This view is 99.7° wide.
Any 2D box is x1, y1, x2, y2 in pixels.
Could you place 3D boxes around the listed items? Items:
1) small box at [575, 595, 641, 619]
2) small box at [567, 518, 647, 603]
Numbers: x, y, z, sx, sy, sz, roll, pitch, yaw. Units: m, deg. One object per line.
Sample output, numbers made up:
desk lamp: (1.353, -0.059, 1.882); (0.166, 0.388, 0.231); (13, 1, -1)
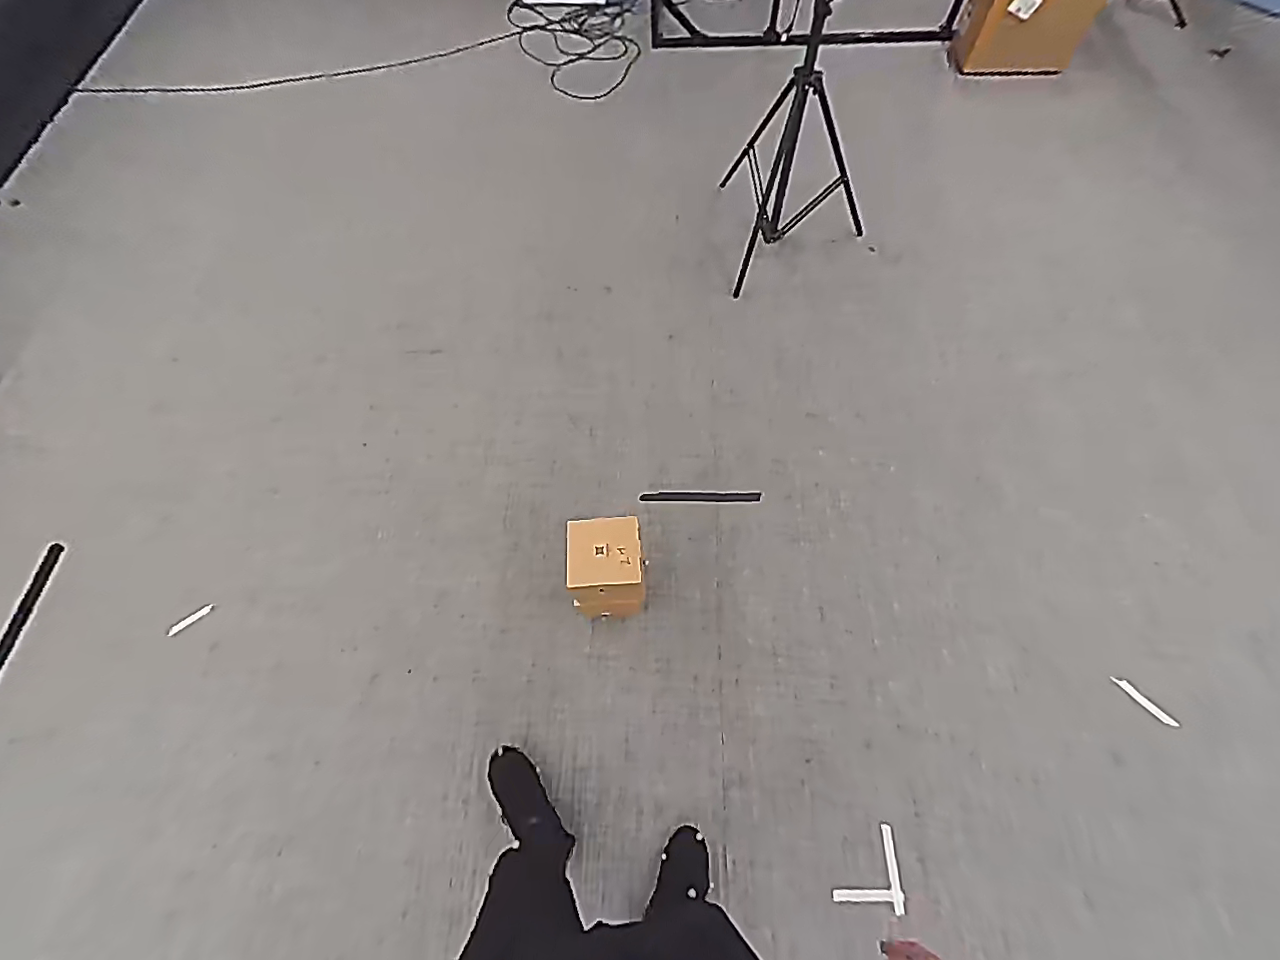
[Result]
small box: (-0.082, 0.277, 1.485); (0.168, 0.176, 0.179); (-3, 65, 2)
small box: (-0.077, 0.204, 1.338); (0.179, 0.176, 0.168); (-4, 65, 2)
